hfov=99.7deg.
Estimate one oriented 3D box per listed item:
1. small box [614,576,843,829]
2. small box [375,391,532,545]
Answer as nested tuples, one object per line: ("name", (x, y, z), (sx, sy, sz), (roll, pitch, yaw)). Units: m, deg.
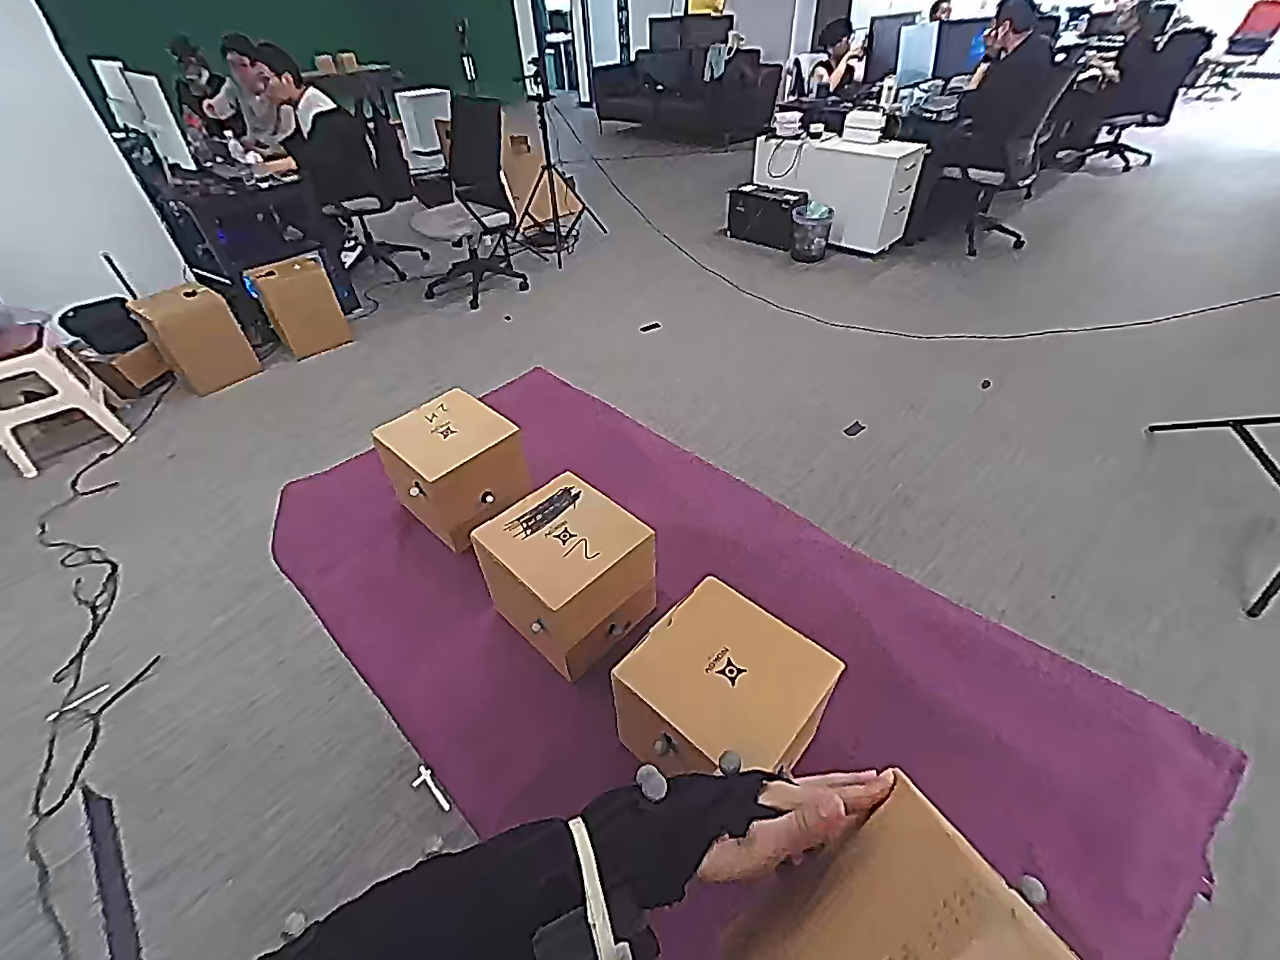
("small box", (0.093, 0.250, 0.603), (0.179, 0.176, 0.168), (30, 52, 32))
("small box", (-0.303, -0.017, 0.912), (0.179, 0.176, 0.168), (32, 52, 29))
